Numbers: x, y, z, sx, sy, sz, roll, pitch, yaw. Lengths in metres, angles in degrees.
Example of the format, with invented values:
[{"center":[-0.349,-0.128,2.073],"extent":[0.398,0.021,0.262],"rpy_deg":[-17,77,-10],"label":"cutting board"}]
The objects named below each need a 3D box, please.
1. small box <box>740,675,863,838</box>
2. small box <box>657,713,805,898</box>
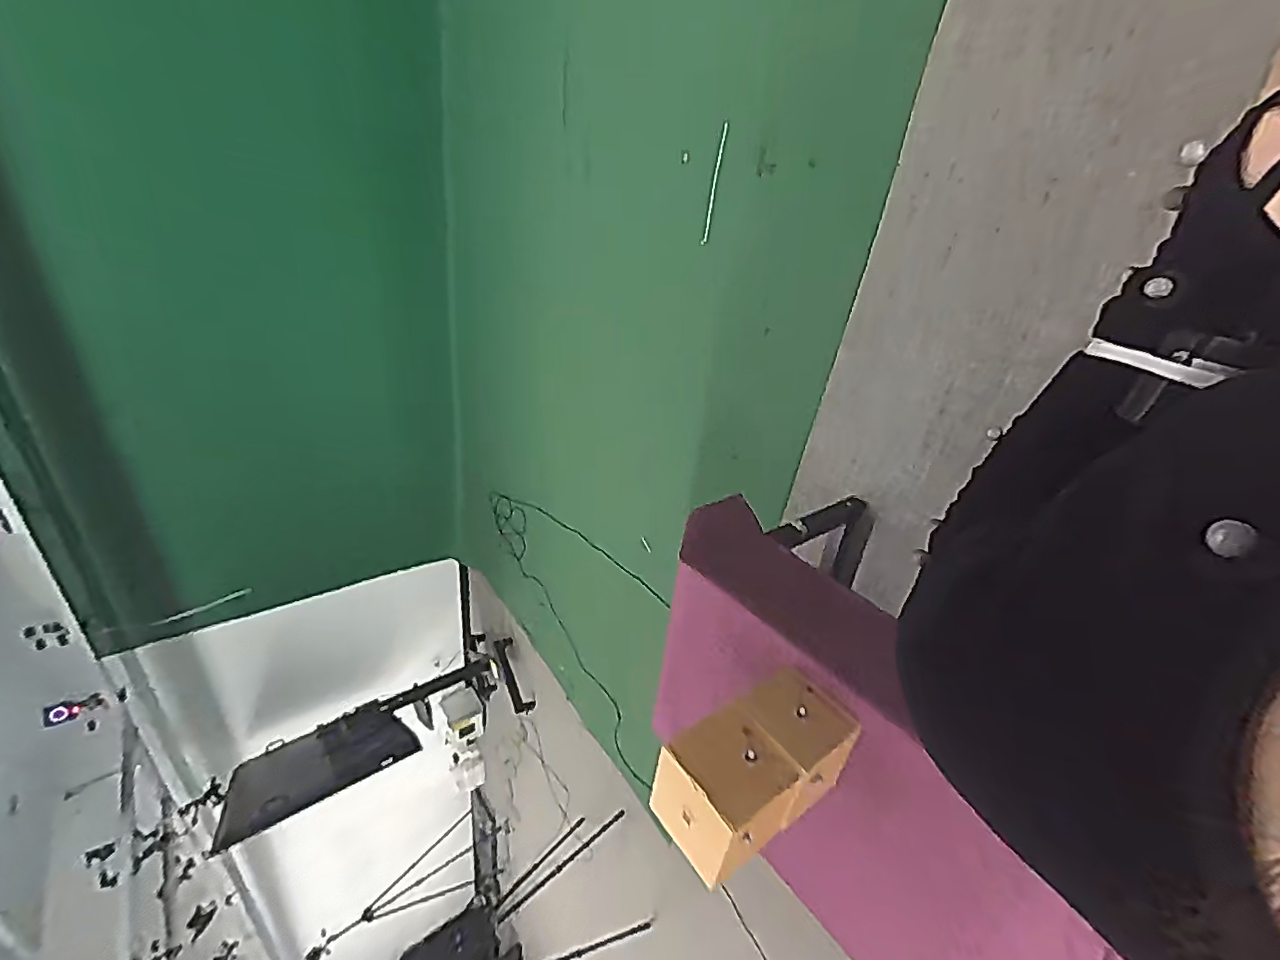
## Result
[{"center":[0.285,0.501,1.004],"extent":[0.168,0.176,0.179],"rpy_deg":[36,129,42],"label":"small box"},{"center":[0.152,0.540,0.916],"extent":[0.168,0.176,0.179],"rpy_deg":[36,128,41],"label":"small box"}]
